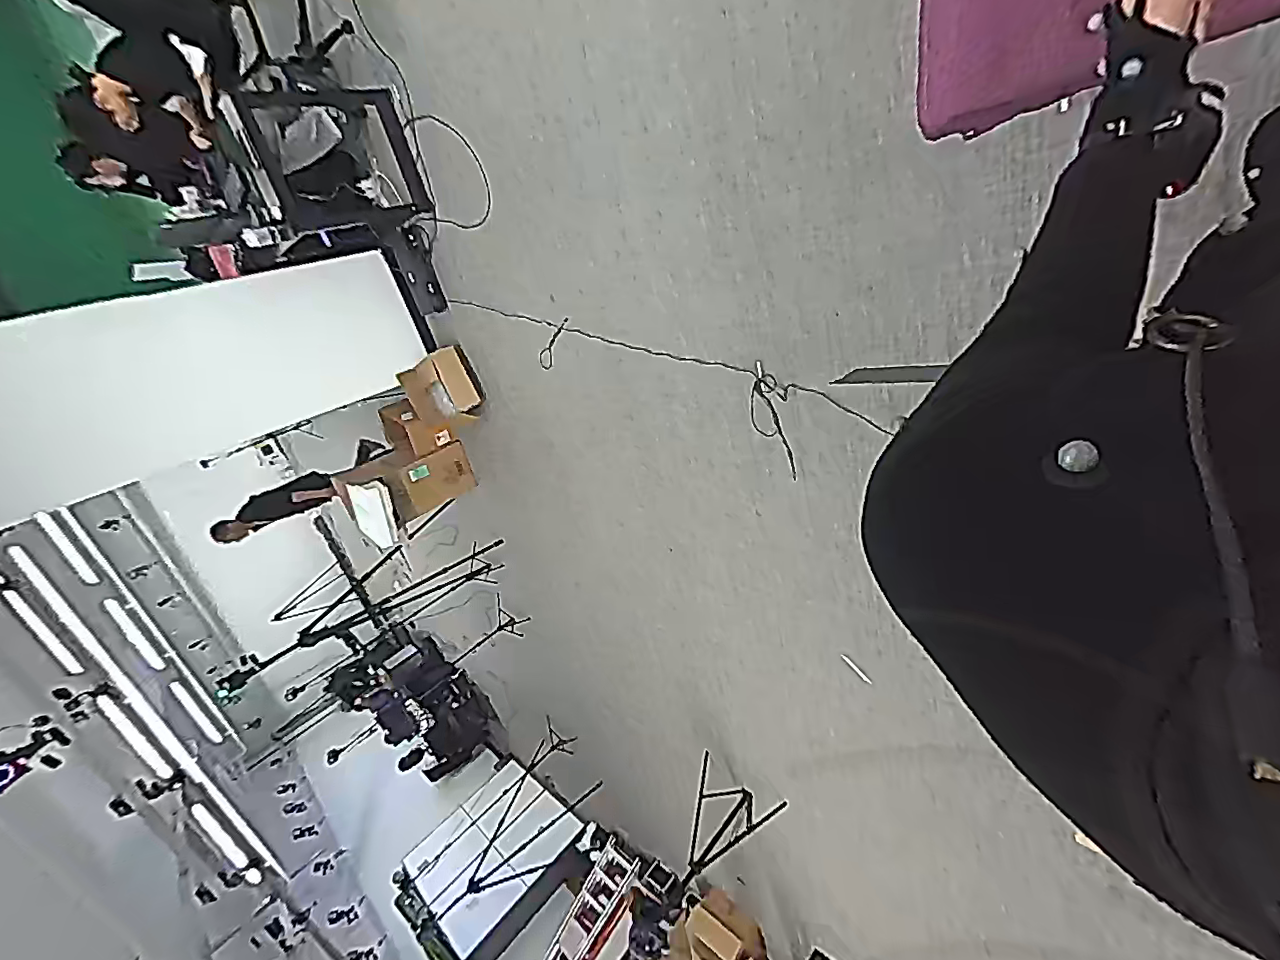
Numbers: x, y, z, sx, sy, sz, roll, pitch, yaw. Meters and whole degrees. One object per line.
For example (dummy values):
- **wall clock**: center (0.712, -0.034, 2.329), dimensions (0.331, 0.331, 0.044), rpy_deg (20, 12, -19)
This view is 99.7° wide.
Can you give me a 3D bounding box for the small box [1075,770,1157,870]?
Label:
- **small box**: center (1.508, 1.067, 1.712), dimensions (0.168, 0.176, 0.179), rpy_deg (13, 127, 45)
